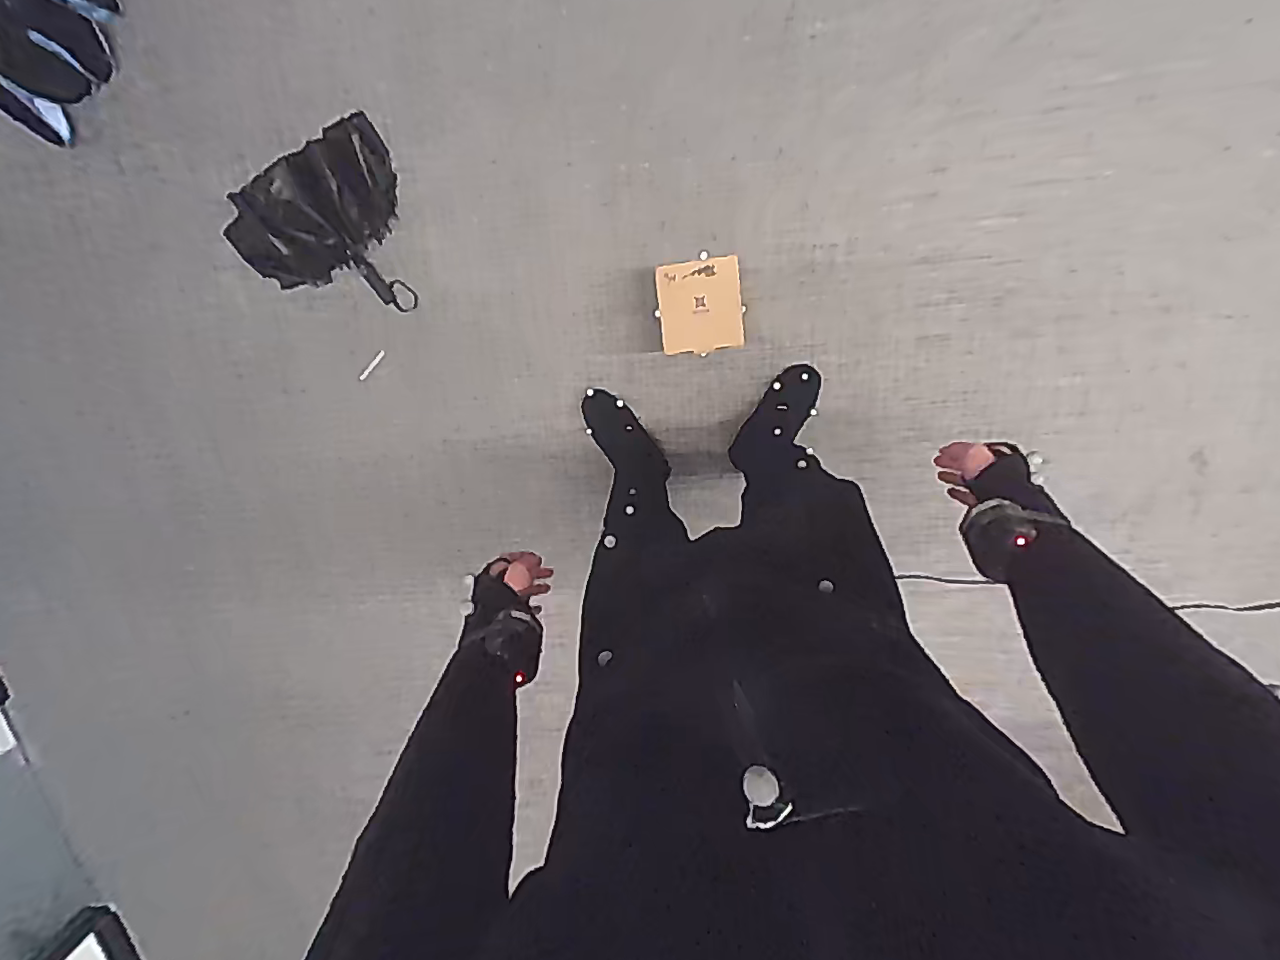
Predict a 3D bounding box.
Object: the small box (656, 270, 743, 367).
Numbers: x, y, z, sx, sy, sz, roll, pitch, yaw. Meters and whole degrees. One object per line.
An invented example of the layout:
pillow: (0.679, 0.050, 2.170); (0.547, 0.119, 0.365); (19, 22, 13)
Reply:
small box: (0.129, -0.349, 1.167); (0.168, 0.176, 0.179); (-6, 107, 6)
